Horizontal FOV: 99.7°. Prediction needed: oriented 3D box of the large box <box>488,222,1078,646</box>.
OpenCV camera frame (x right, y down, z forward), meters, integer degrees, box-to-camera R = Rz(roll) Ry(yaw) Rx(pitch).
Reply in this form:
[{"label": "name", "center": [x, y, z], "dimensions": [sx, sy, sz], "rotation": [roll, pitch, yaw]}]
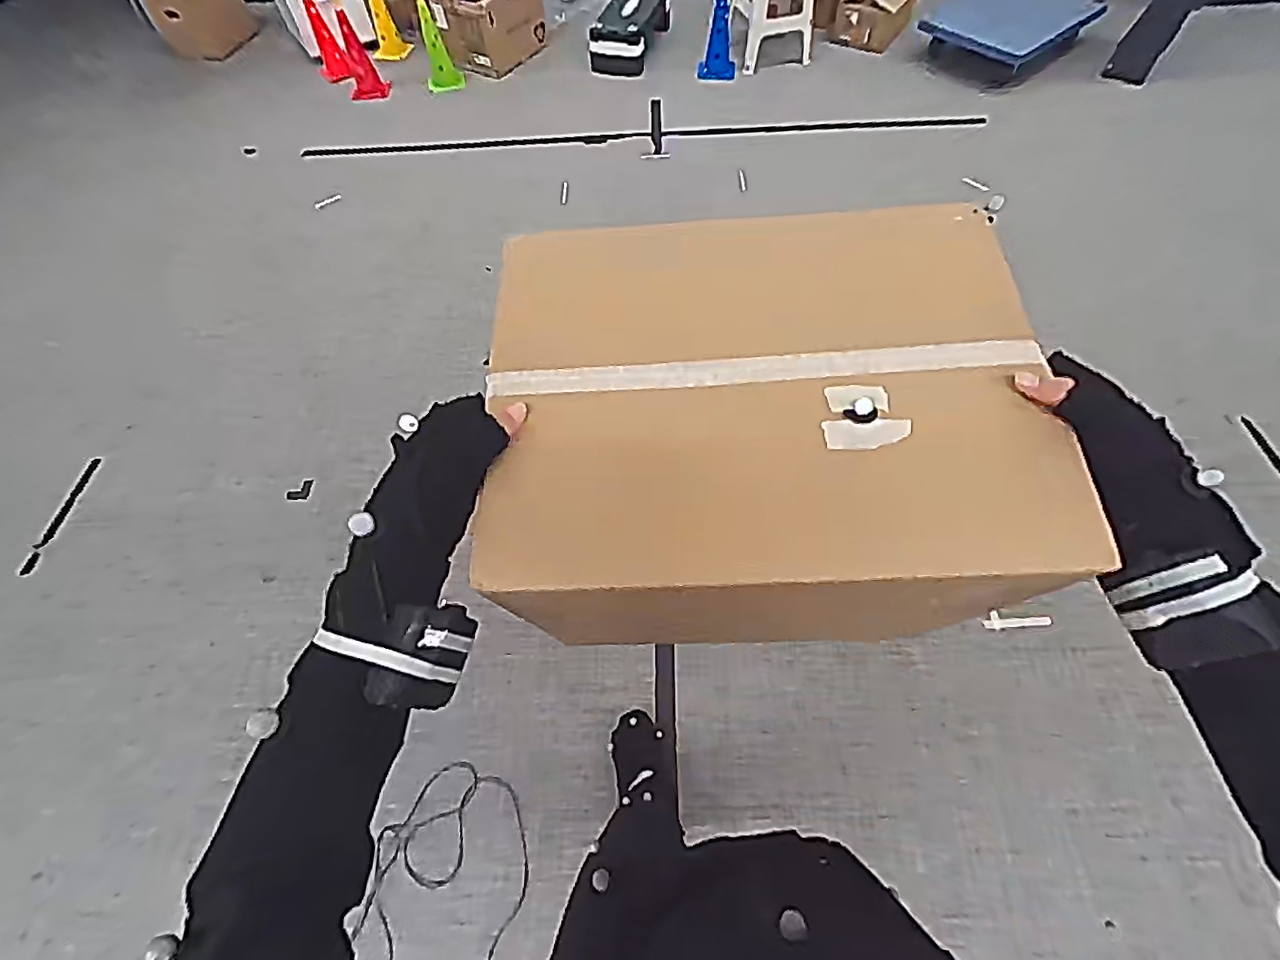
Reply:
[{"label": "large box", "center": [0.094, -0.016, 0.557], "dimensions": [0.408, 0.320, 0.320], "rotation": [-3, 66, 3]}]
